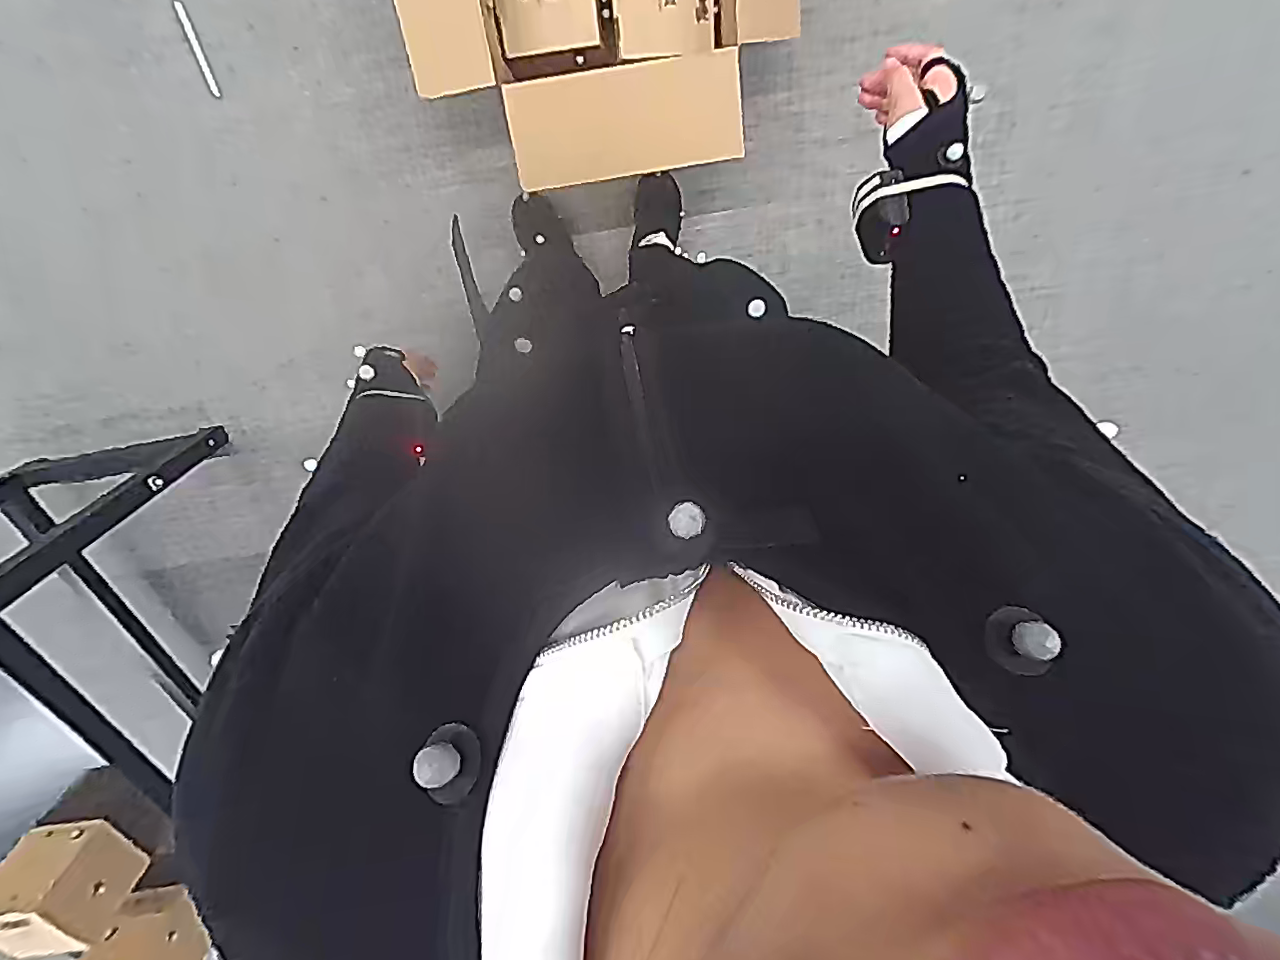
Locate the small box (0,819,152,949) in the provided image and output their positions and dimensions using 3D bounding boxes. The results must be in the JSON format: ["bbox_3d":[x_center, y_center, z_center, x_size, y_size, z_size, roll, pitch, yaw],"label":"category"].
[{"bbox_3d":[-1.200,0.836,1.131,0.168,0.176,0.179,-8,122,2],"label":"small box"}]

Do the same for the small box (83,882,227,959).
[{"bbox_3d":[-1.146,1.084,1.282,0.168,0.176,0.179,-10,121,4],"label":"small box"}]
